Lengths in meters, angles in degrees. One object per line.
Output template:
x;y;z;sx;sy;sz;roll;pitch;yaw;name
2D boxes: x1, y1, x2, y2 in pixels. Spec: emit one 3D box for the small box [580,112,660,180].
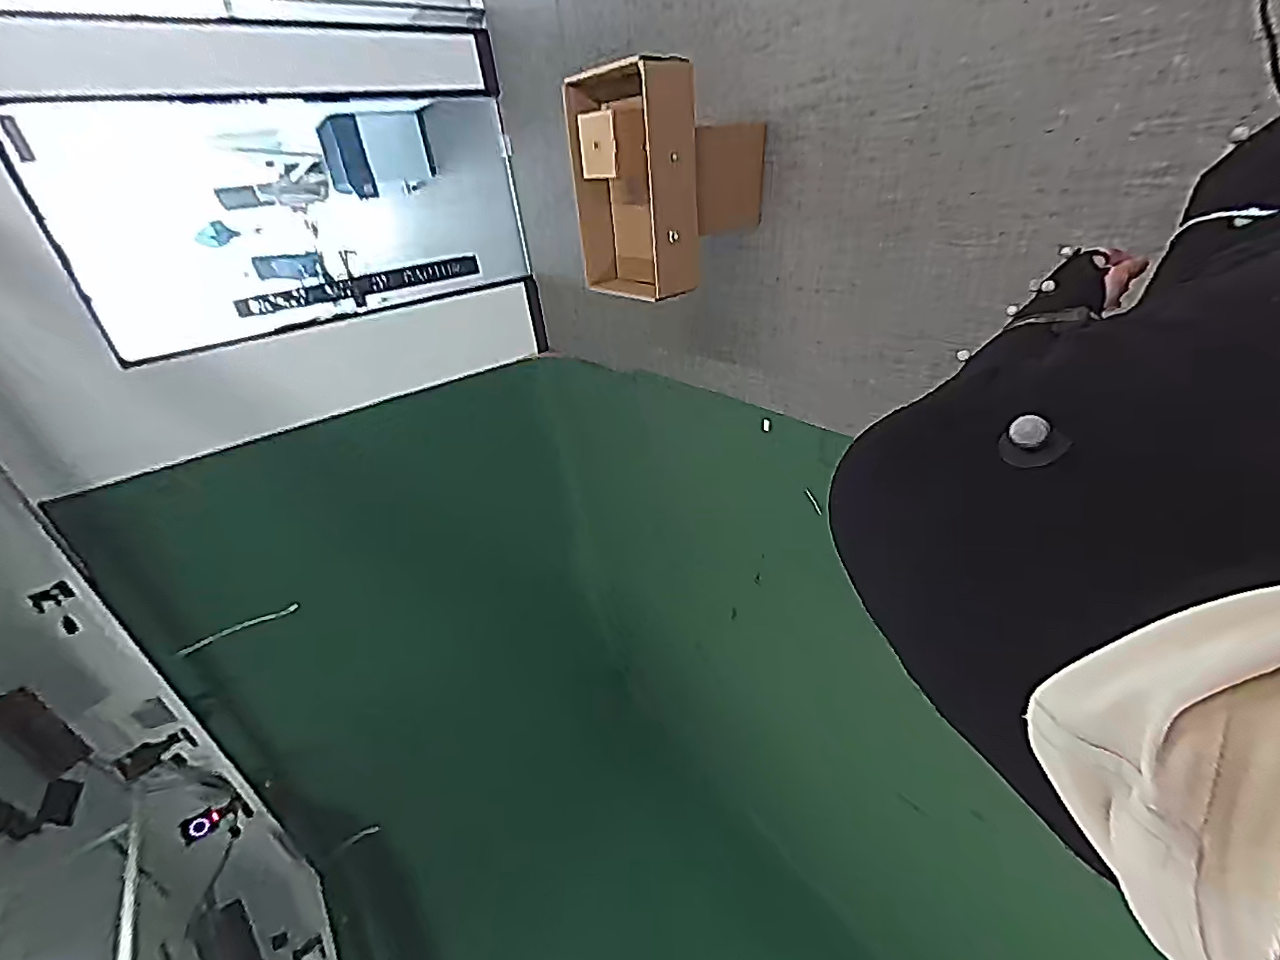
-0.058;-1.002;1.628;0.179;0.176;0.168;30;134;43;small box
